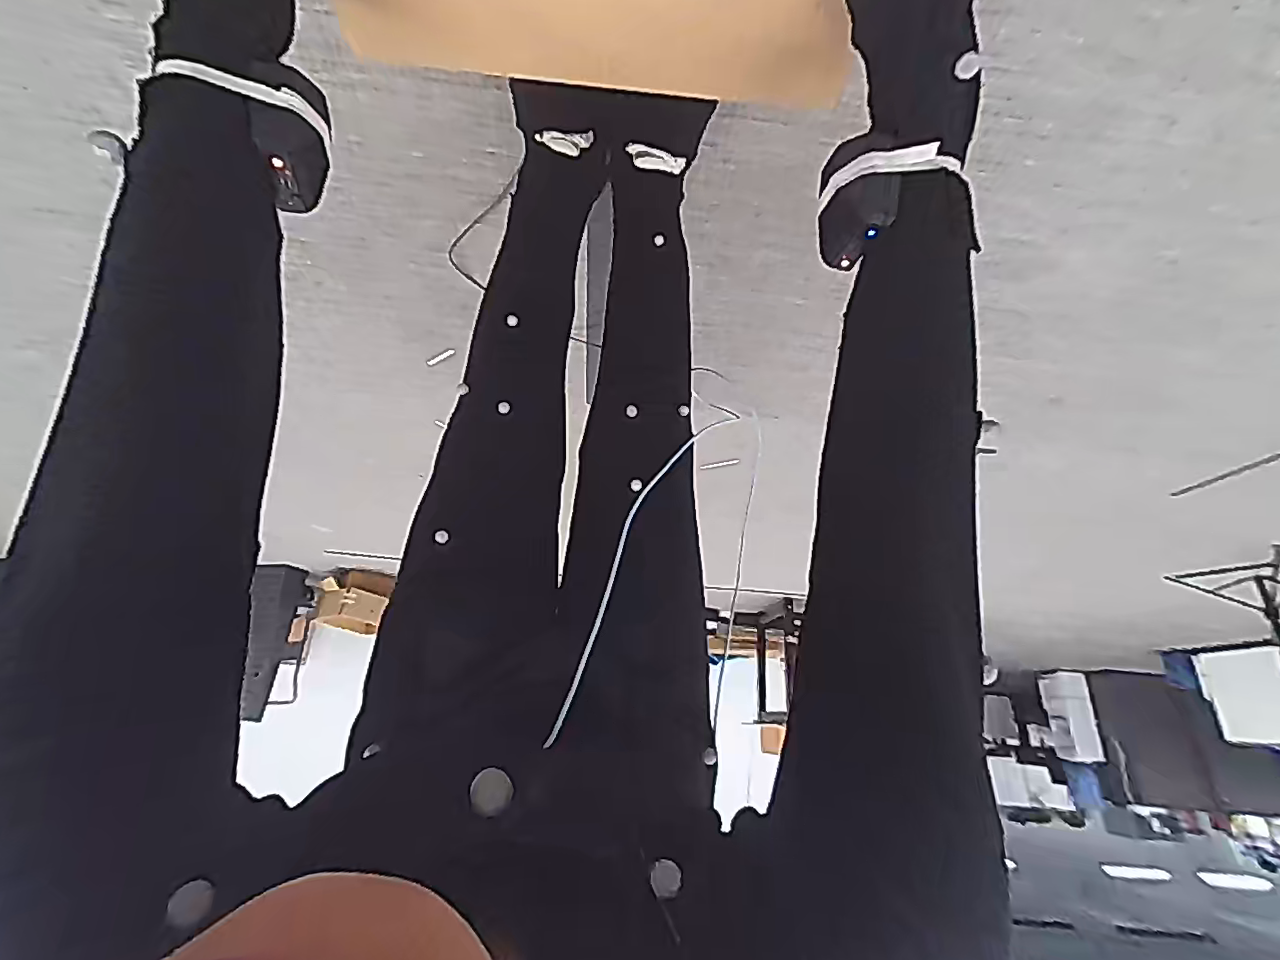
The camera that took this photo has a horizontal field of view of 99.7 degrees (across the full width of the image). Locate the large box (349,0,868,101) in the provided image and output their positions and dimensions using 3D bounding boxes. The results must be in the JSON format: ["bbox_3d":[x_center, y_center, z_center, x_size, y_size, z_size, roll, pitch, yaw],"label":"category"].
[{"bbox_3d":[-0.015,-0.536,0.384,0.408,0.320,0.320,6,157,0],"label":"large box"}]
